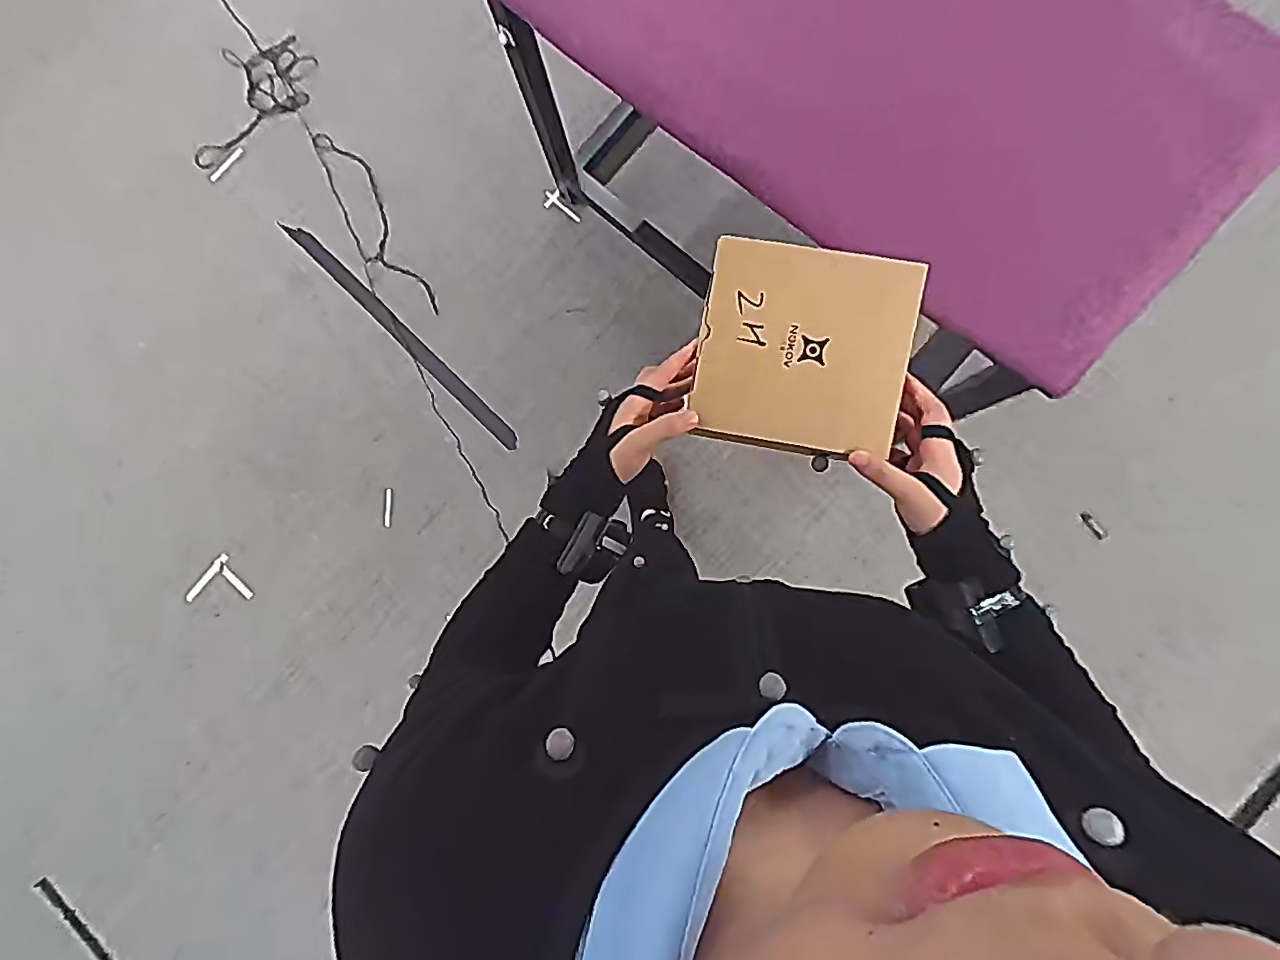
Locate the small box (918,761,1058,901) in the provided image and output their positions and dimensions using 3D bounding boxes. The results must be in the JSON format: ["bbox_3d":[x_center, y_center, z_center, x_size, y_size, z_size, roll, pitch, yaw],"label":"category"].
[{"bbox_3d":[0.790,0.796,1.247,0.168,0.176,0.179,-42,84,2],"label":"small box"}]

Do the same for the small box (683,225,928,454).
[{"bbox_3d":[0.143,-0.123,0.530,0.179,0.176,0.168,11,93,5],"label":"small box"}]

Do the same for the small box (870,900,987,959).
[{"bbox_3d":[0.597,0.996,1.079,0.179,0.176,0.168,38,89,5],"label":"small box"}]
